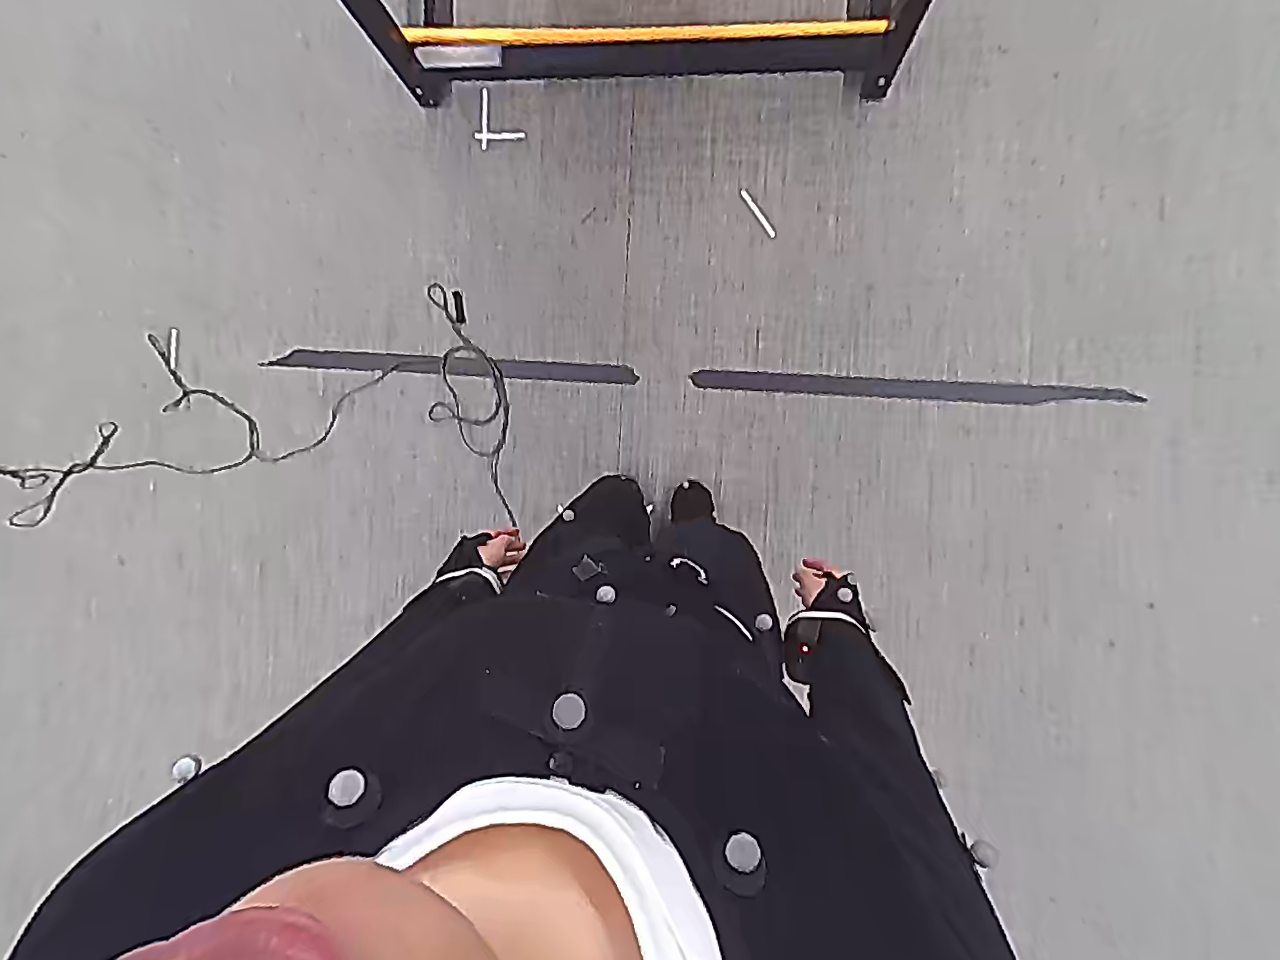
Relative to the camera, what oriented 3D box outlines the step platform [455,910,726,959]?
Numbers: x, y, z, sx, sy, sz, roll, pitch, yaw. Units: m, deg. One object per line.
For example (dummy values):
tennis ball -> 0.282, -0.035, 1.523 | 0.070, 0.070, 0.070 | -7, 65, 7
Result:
step platform -> -0.126, 1.286, 1.300 | 0.684, 0.204, 0.286 | 3, 91, 5
